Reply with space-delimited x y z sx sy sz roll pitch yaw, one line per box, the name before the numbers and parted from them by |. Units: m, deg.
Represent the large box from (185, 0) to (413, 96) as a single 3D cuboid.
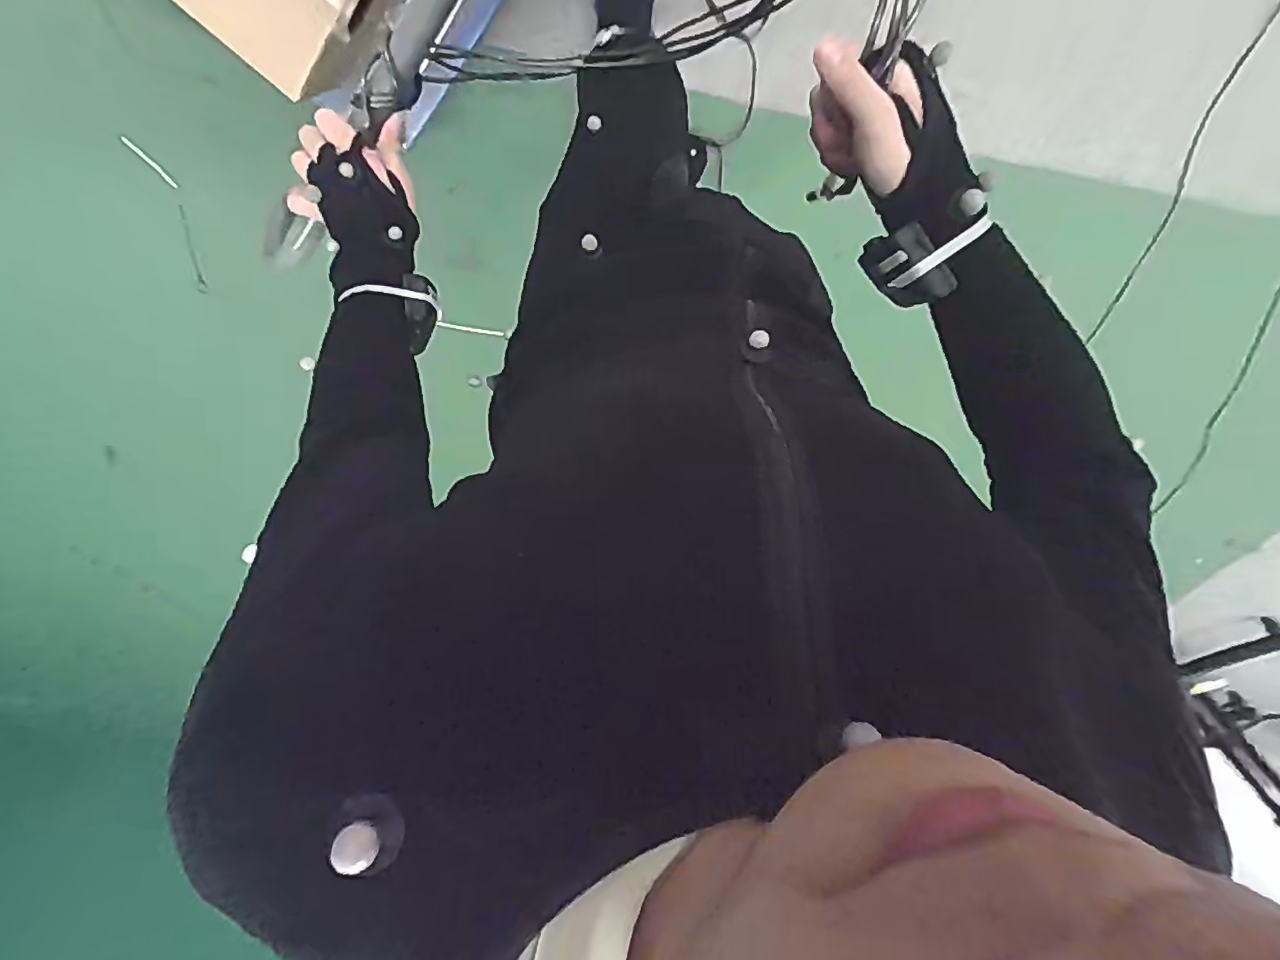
large box | -0.537 -0.848 0.753 0.408 0.320 0.320 35 121 -29
